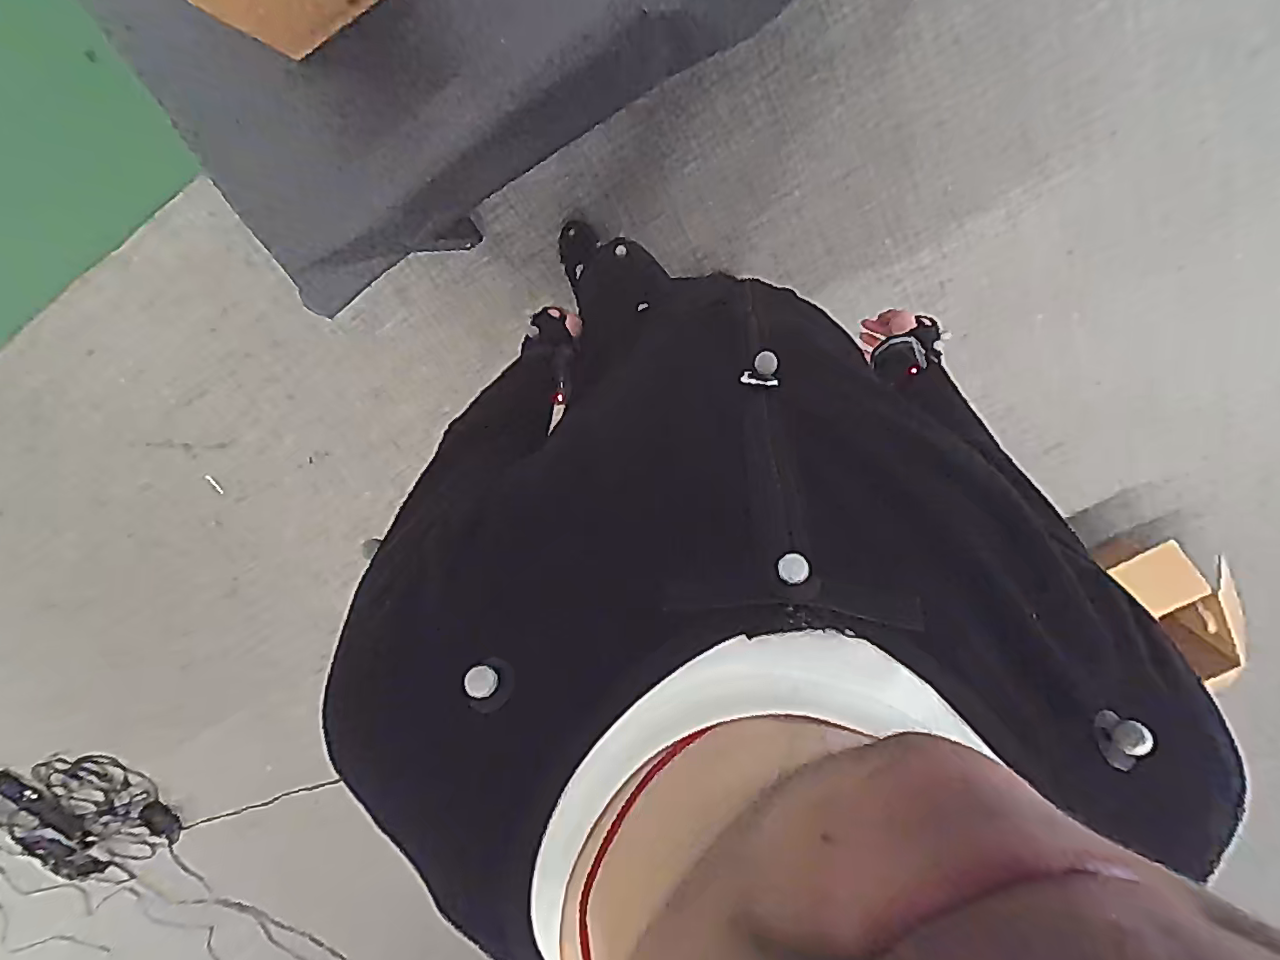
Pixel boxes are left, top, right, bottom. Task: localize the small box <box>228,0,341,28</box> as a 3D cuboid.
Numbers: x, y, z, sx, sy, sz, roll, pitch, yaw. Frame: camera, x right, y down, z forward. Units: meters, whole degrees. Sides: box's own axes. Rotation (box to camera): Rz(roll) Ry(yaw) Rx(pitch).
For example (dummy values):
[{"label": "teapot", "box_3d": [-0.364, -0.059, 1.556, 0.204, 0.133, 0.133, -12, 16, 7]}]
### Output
[{"label": "small box", "box_3d": [-0.372, -0.582, 0.515, 0.168, 0.176, 0.179, -26, 109, 10]}]
